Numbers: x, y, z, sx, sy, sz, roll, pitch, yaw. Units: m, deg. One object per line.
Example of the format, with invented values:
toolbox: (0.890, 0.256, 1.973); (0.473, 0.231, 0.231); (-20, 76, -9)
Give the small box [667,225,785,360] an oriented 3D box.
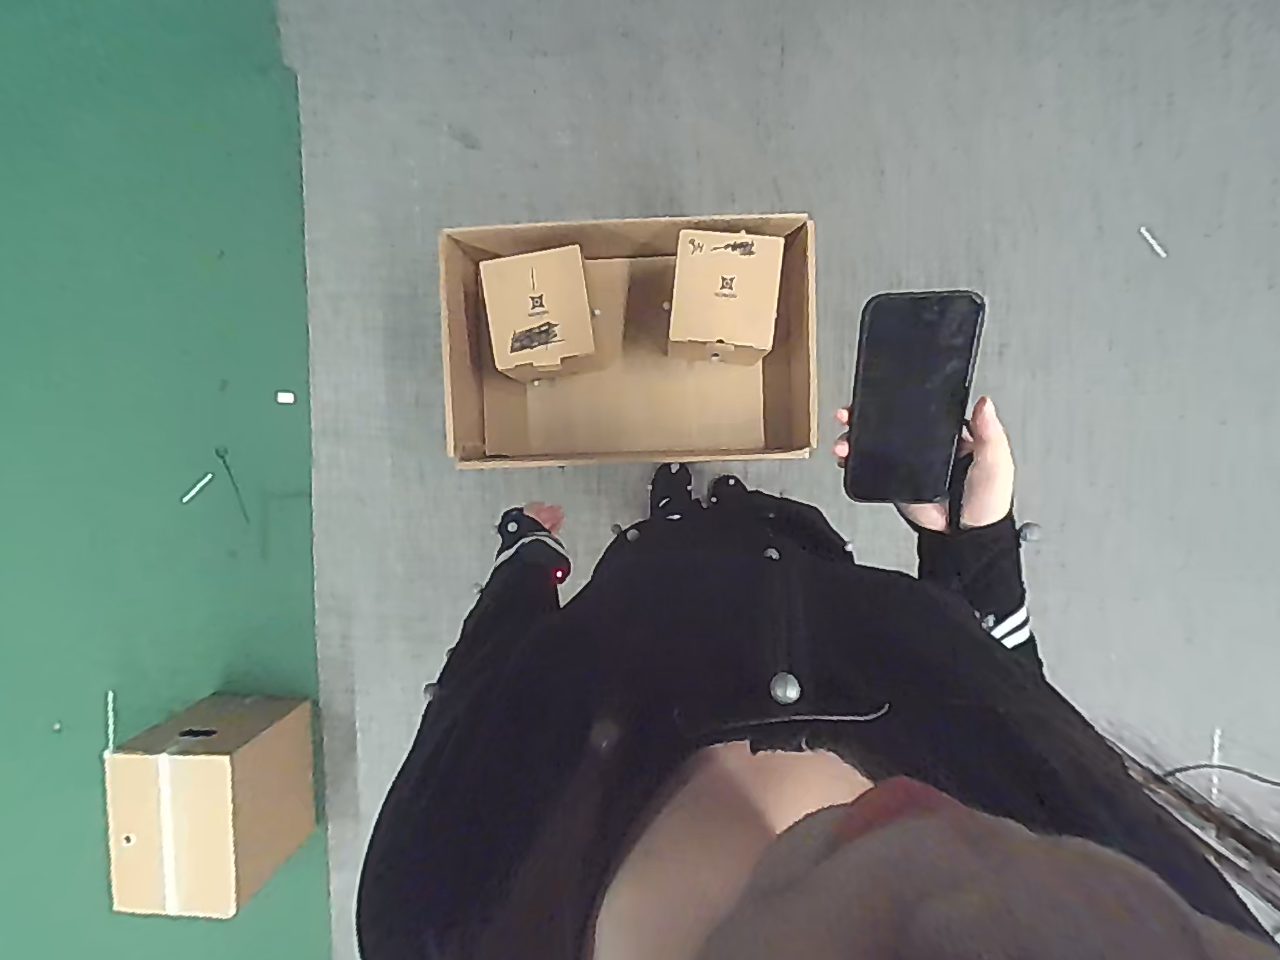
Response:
small box: (0.138, -0.308, 0.922); (0.168, 0.176, 0.179); (7, 95, 2)
